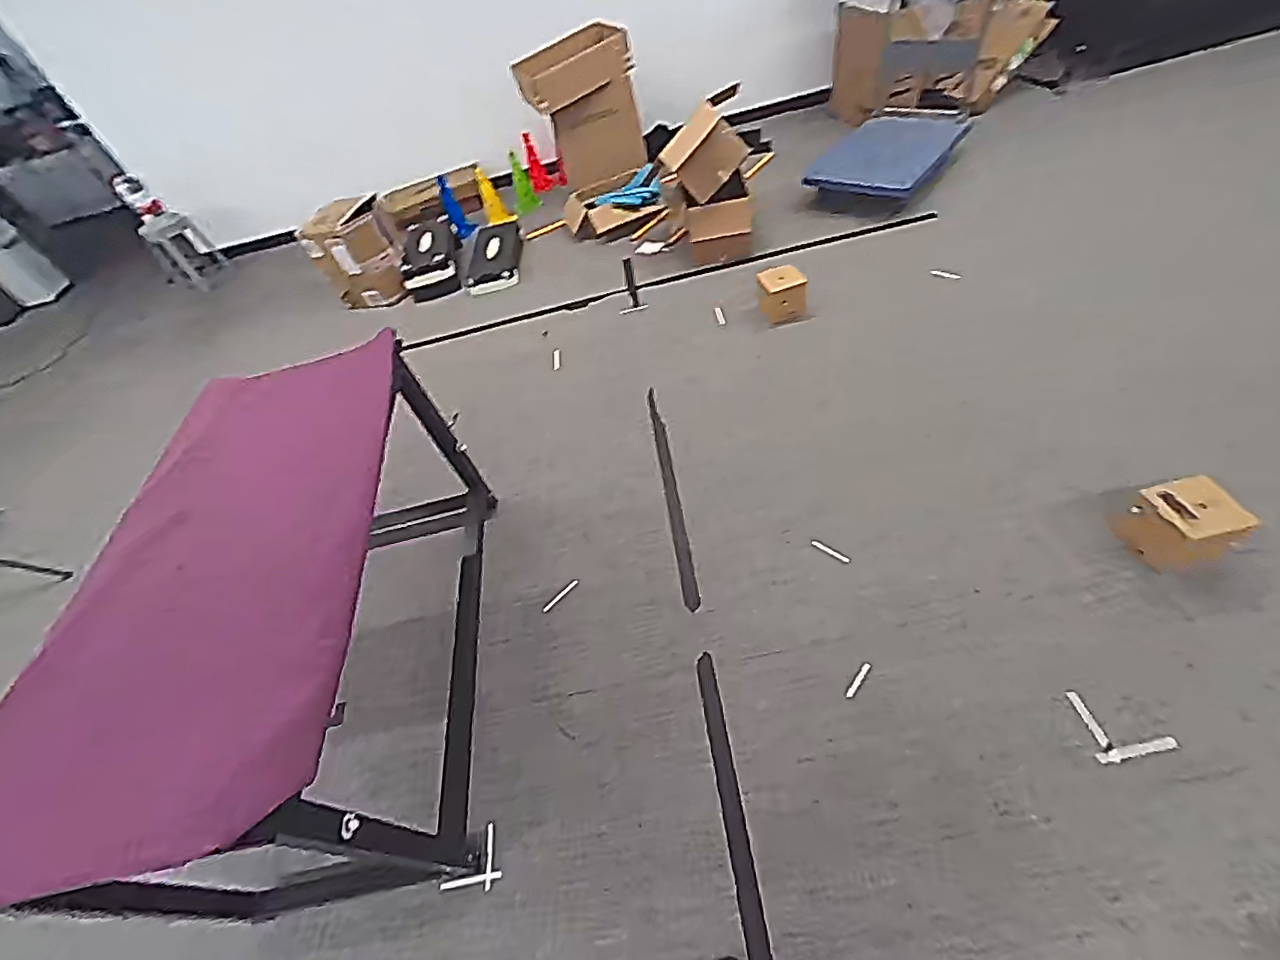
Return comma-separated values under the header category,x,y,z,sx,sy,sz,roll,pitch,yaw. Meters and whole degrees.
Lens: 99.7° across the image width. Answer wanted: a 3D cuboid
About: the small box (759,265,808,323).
category,x,y,z,sx,sy,sz,roll,pitch,yaw
small box,0.647,-0.830,2.436,0.168,0.176,0.179,-18,48,-1
